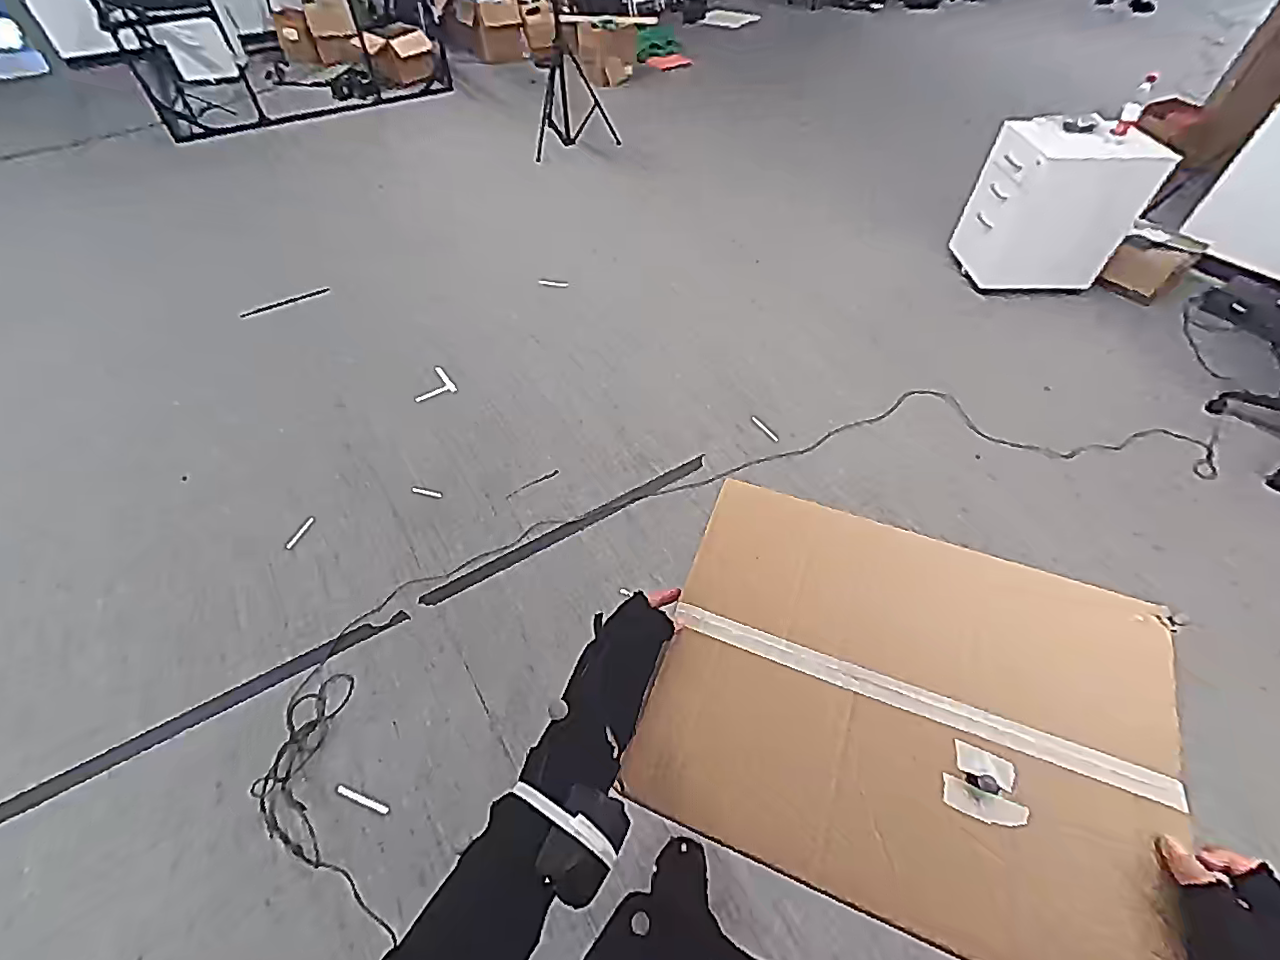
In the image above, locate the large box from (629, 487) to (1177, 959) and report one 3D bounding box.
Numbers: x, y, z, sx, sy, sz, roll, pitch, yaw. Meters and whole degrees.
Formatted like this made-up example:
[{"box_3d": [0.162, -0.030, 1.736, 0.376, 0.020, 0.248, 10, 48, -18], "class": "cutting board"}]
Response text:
[{"box_3d": [0.235, 0.259, 0.597, 0.408, 0.320, 0.320, 18, 63, 15], "class": "large box"}]
